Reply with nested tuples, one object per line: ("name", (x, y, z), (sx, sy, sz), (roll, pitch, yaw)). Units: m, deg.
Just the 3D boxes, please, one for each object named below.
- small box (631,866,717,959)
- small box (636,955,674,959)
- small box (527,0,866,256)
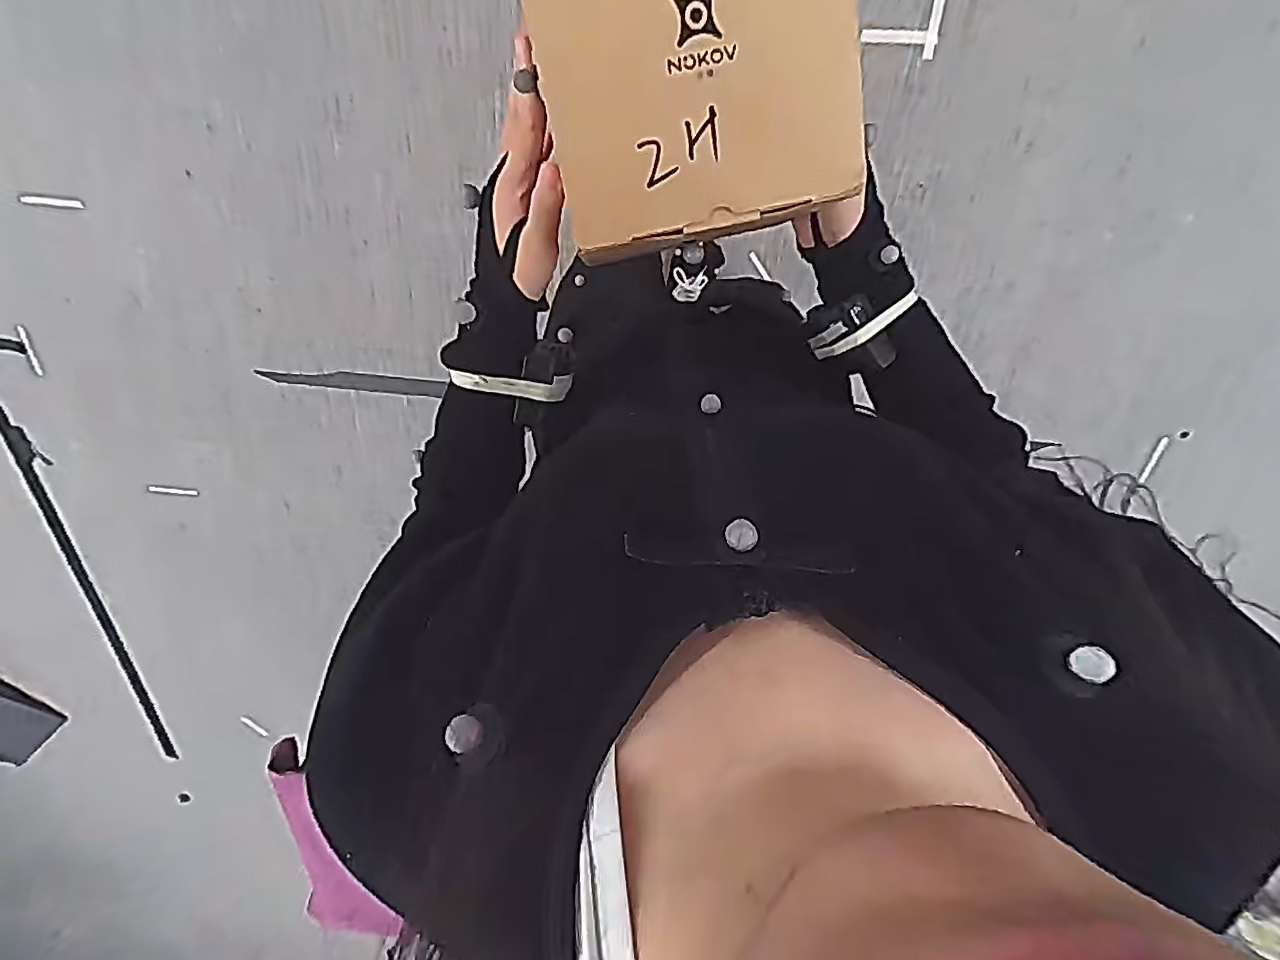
("small box", (0.068, 0.983, 1.185), (0.168, 0.176, 0.179), (6, 118, -1))
("small box", (0.061, 1.064, 1.042), (0.168, 0.176, 0.179), (5, 118, 0))
("small box", (0.023, -0.254, 0.343), (0.168, 0.176, 0.179), (-12, 110, 0))
